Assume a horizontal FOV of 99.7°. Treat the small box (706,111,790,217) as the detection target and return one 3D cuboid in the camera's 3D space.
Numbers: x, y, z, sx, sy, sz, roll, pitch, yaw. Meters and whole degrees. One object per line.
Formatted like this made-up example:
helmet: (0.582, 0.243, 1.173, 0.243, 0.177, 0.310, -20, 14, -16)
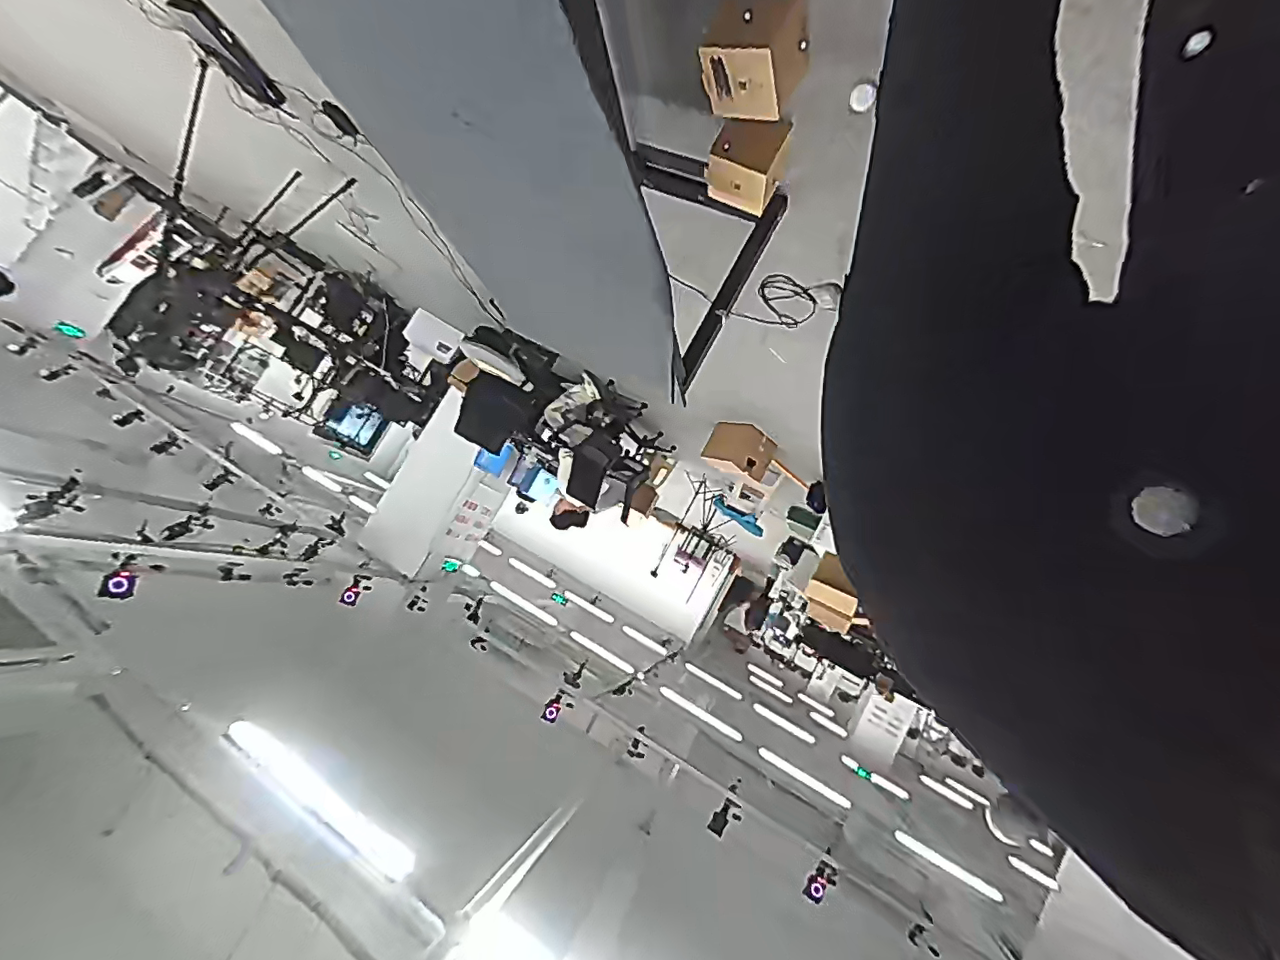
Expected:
small box: (0.299, -0.884, 1.513, 0.179, 0.176, 0.168, 28, 173, 11)
